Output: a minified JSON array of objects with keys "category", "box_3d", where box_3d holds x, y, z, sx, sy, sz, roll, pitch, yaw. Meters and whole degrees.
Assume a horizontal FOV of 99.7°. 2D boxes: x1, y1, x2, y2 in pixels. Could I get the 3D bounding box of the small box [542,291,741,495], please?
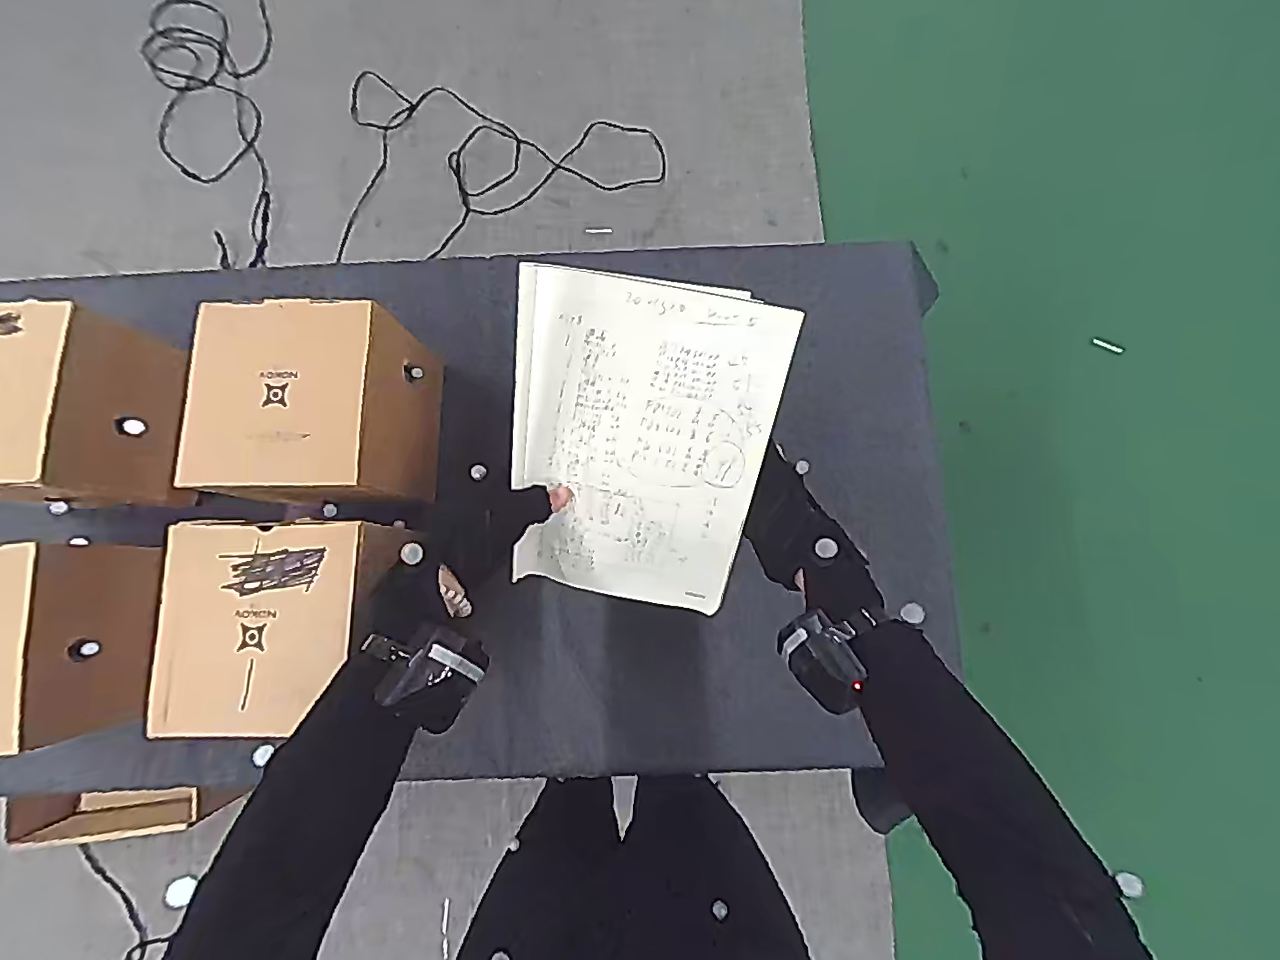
[{"category":"small box","box_3d":[0.001,-0.077,0.559,0.179,0.176,0.168,-2,80,2]}]
